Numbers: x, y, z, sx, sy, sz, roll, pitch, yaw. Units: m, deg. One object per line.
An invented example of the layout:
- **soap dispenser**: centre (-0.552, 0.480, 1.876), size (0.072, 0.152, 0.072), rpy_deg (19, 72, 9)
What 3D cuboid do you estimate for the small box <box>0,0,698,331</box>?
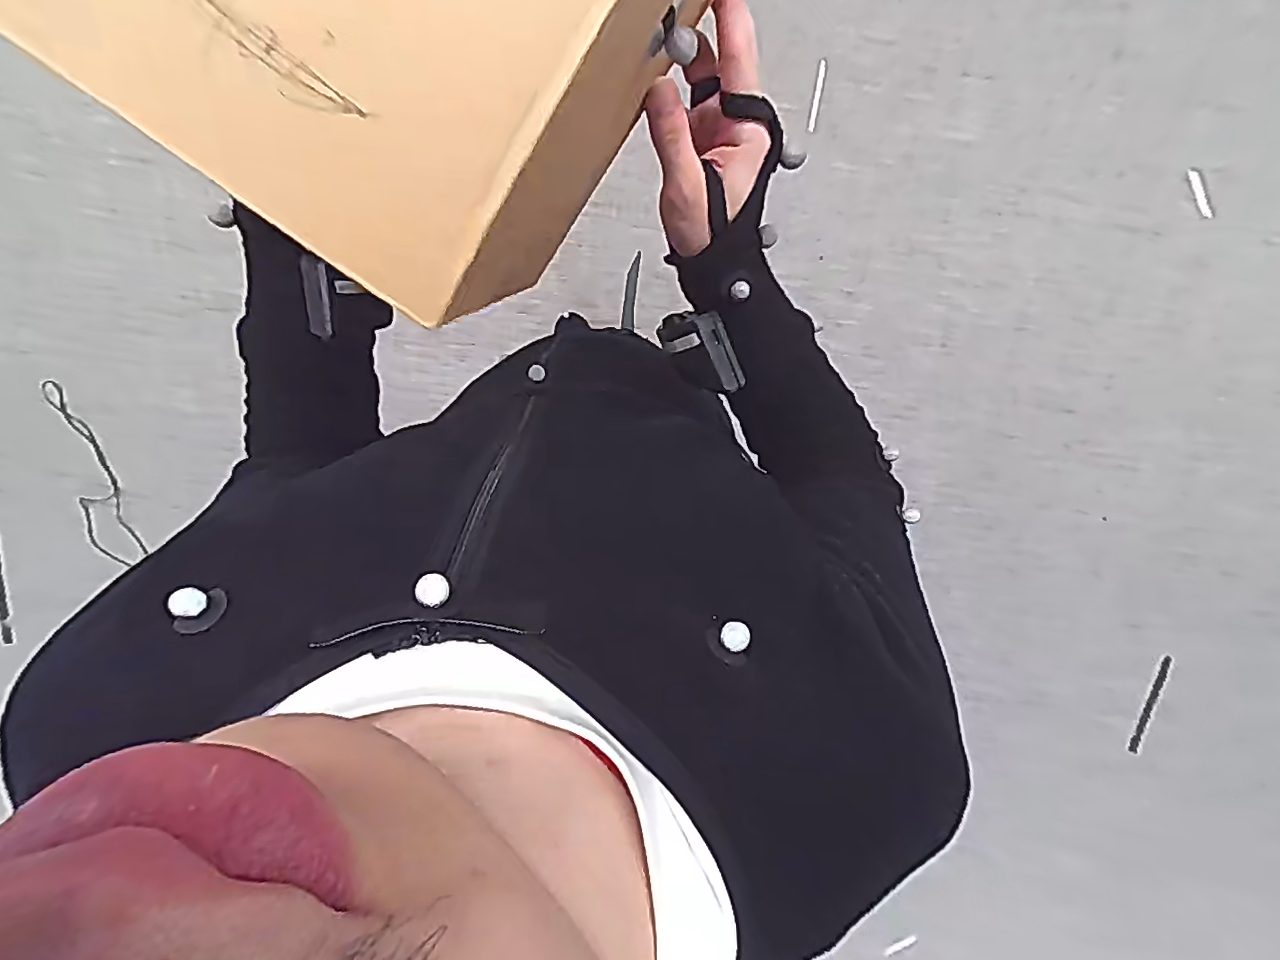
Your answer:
- **small box**: centre (-0.083, -0.194, 0.224), size (0.168, 0.176, 0.179), rpy_deg (34, 112, -12)
